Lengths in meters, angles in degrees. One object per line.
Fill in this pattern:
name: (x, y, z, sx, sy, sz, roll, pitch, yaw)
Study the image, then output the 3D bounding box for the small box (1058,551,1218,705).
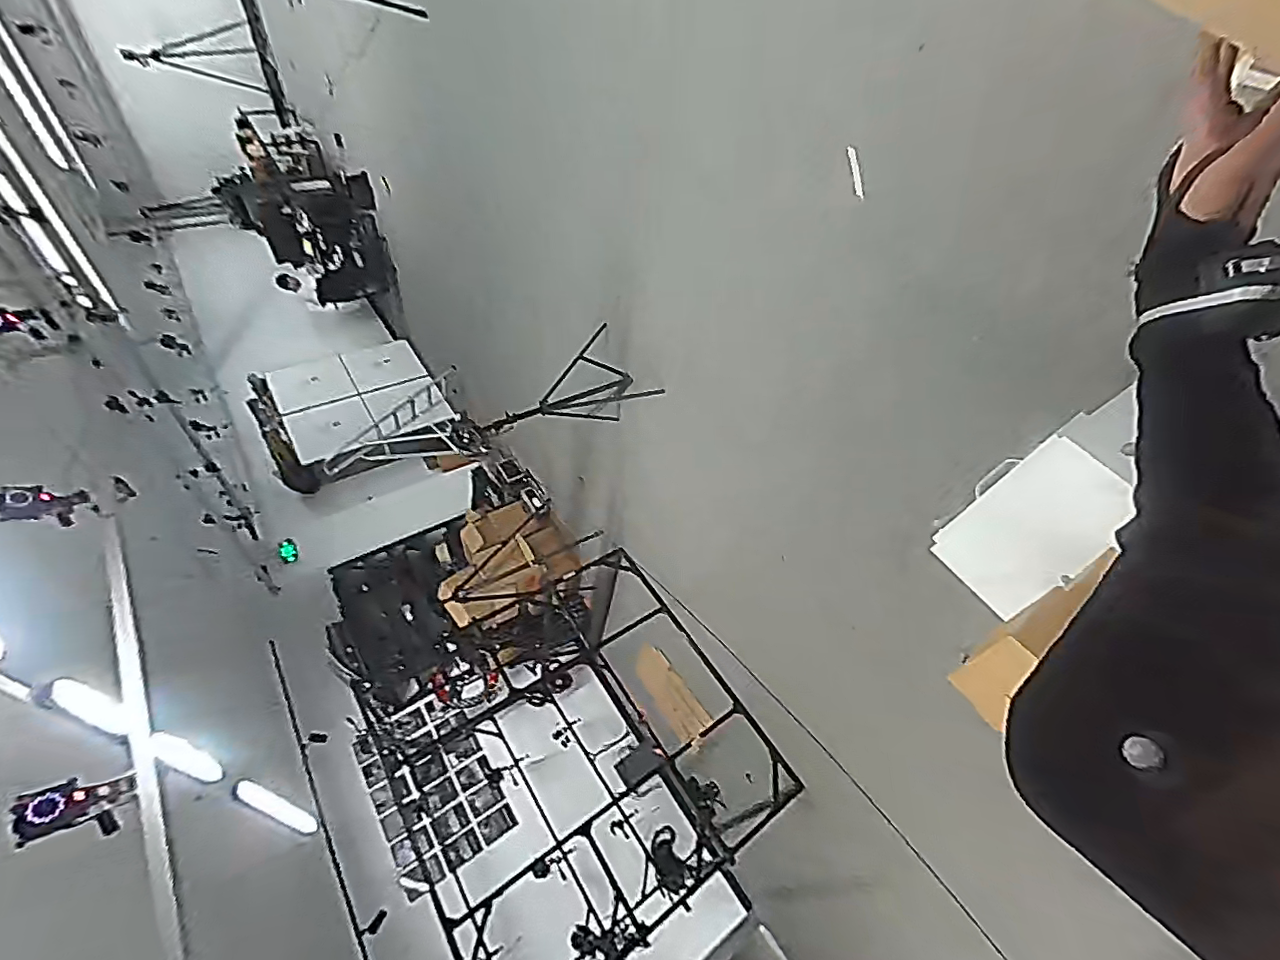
small box: (0.796, 0.253, 0.911, 0.179, 0.176, 0.168, 48, 147, 32)

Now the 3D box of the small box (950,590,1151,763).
small box: (0.650, 0.305, 0.858, 0.168, 0.176, 0.179, 49, 149, 29)
